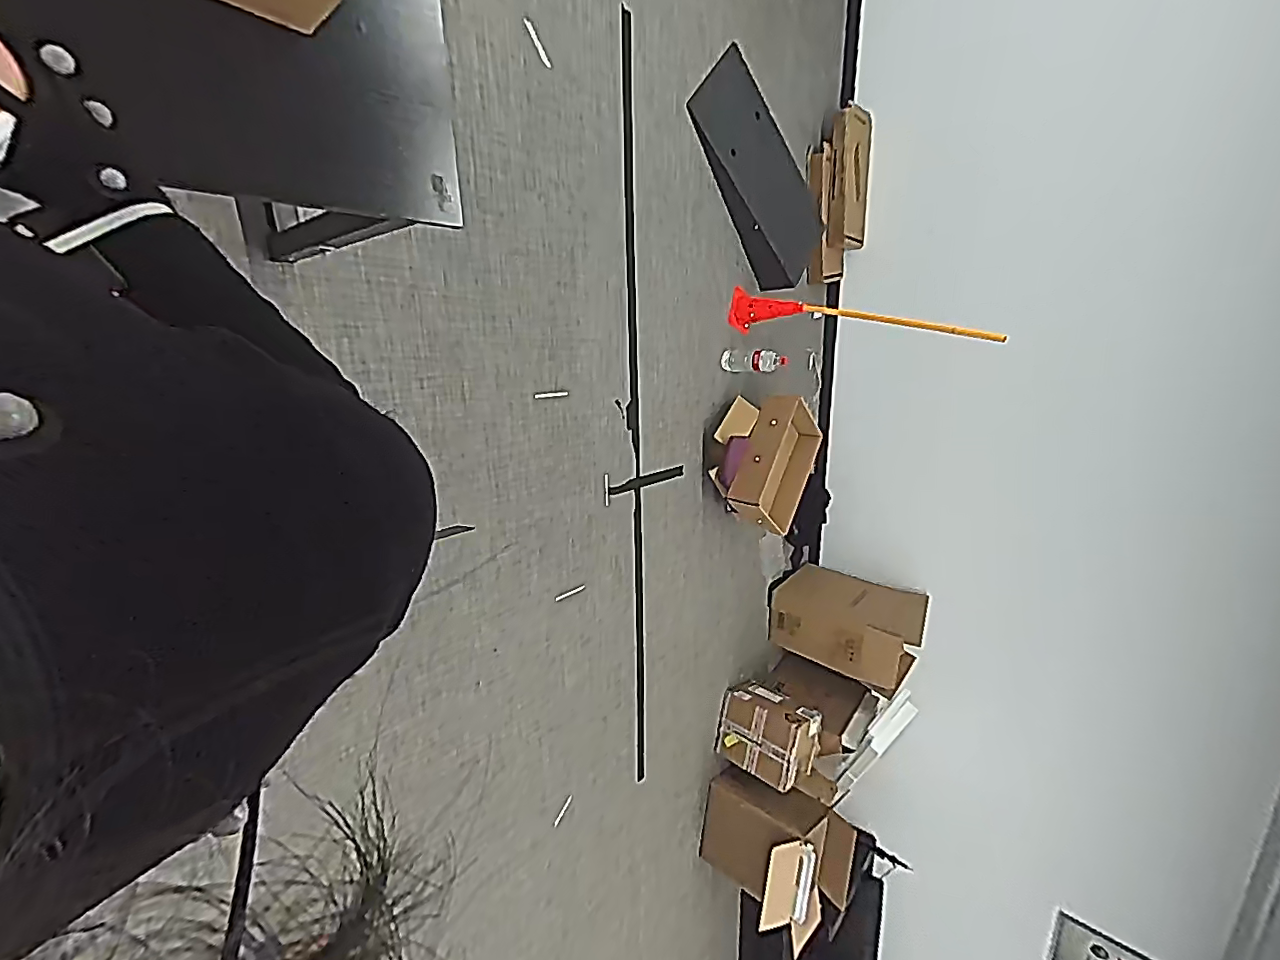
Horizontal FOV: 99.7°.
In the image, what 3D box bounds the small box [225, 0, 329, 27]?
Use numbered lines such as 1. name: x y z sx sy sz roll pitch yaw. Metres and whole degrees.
1. small box: -0.400 -0.594 0.528 0.179 0.176 0.168 -15 110 -48
